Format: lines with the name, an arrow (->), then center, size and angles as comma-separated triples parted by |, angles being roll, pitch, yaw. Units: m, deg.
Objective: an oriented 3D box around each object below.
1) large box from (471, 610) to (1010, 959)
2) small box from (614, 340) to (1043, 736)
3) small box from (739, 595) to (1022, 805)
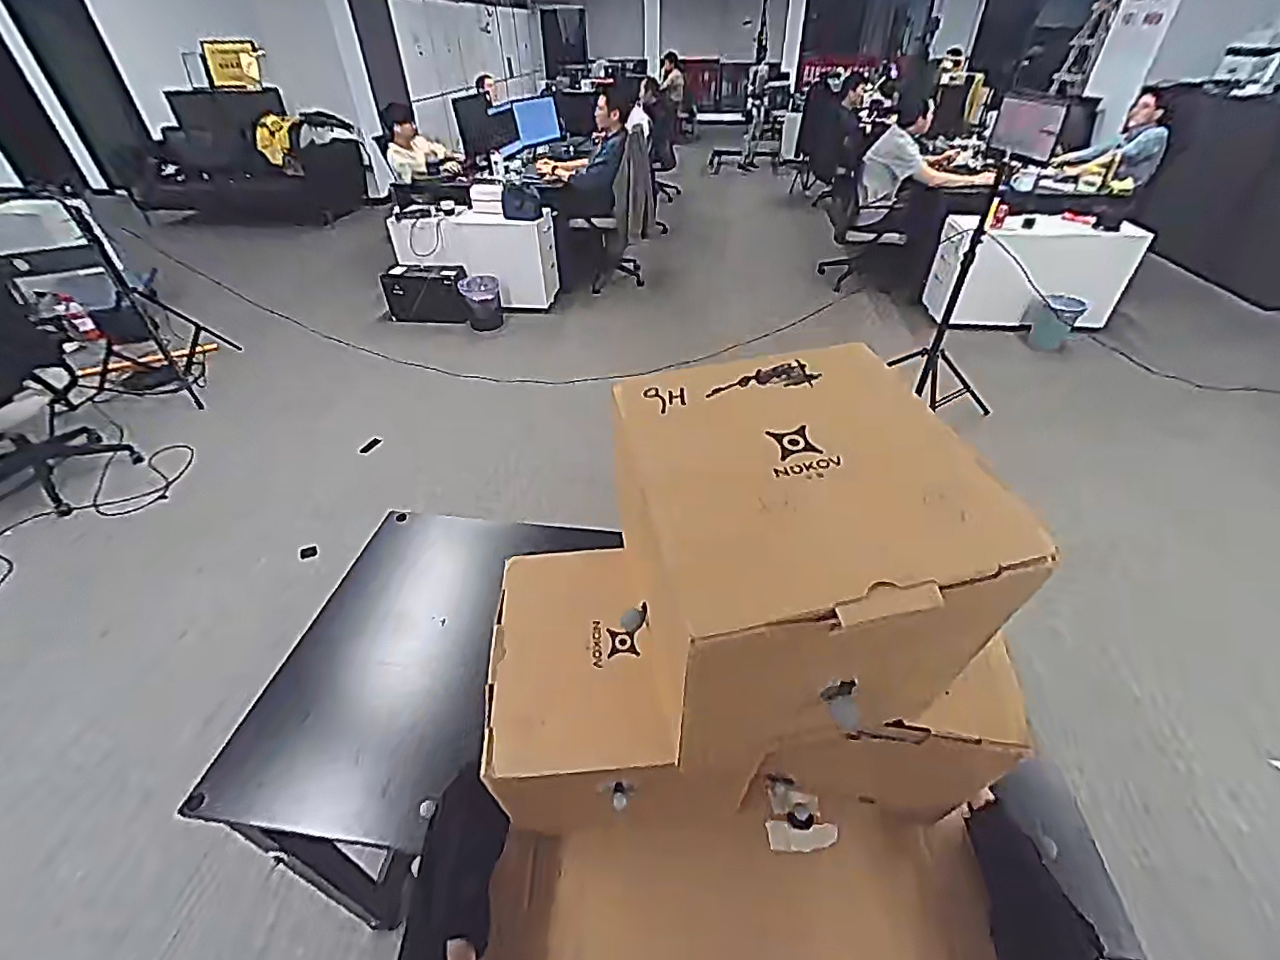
large box -> 0.069, 0.357, 0.596 | 0.408, 0.320, 0.320 | -1, 46, 0
small box -> 0.083, 0.040, 0.339 | 0.168, 0.176, 0.179 | -10, 47, -8
small box -> 0.177, 0.147, 0.459 | 0.168, 0.176, 0.179 | 7, 45, 10
